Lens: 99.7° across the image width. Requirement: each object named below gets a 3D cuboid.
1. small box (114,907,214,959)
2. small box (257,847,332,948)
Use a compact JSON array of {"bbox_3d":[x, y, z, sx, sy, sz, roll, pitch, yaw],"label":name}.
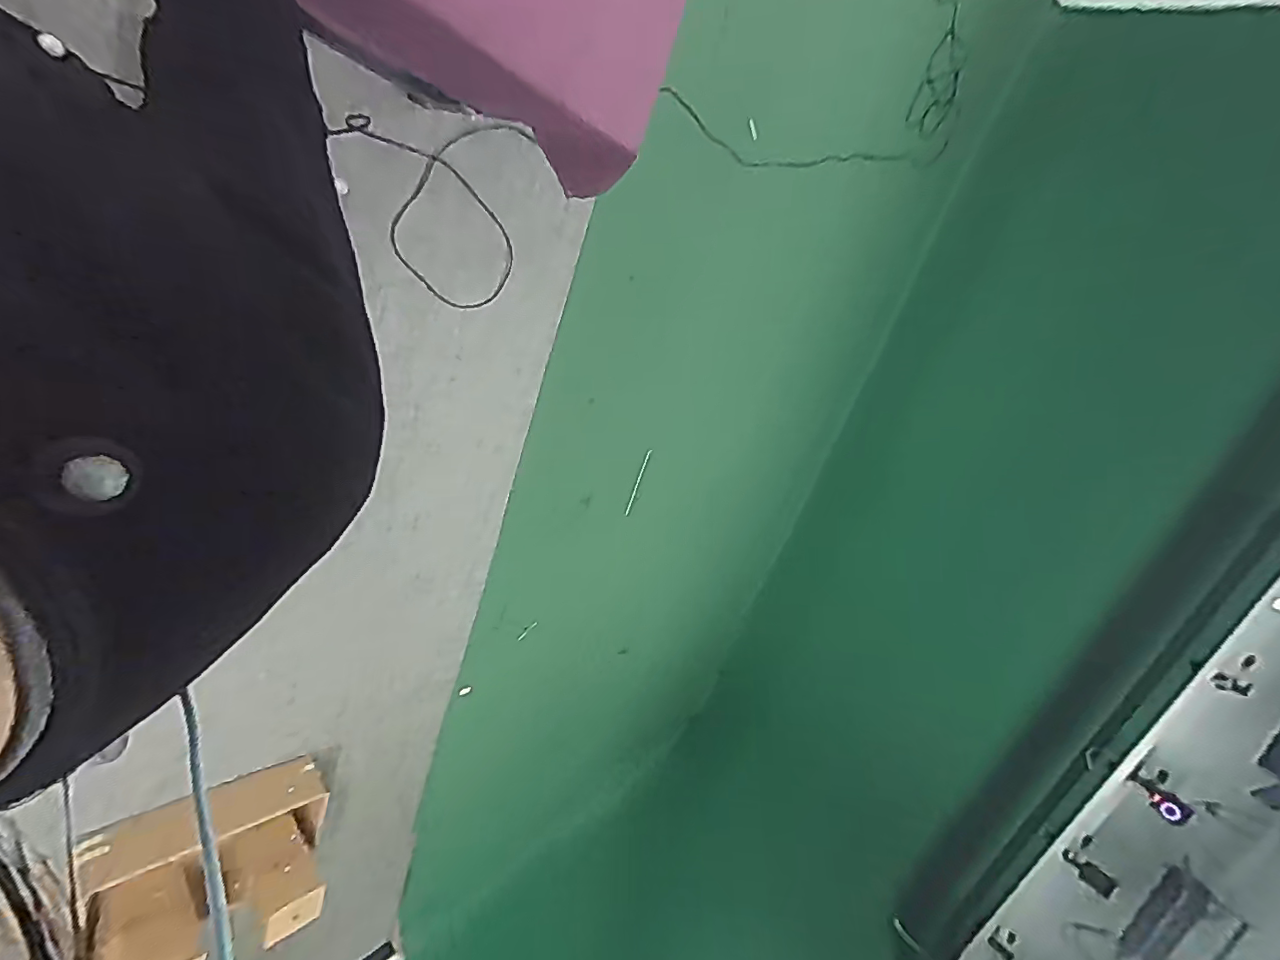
[{"bbox_3d":[-1.383,1.396,1.561,0.179,0.176,0.168,16,103,-55],"label":"small box"},{"bbox_3d":[-1.170,1.399,1.823,0.168,0.176,0.179,-6,120,-50],"label":"small box"}]
